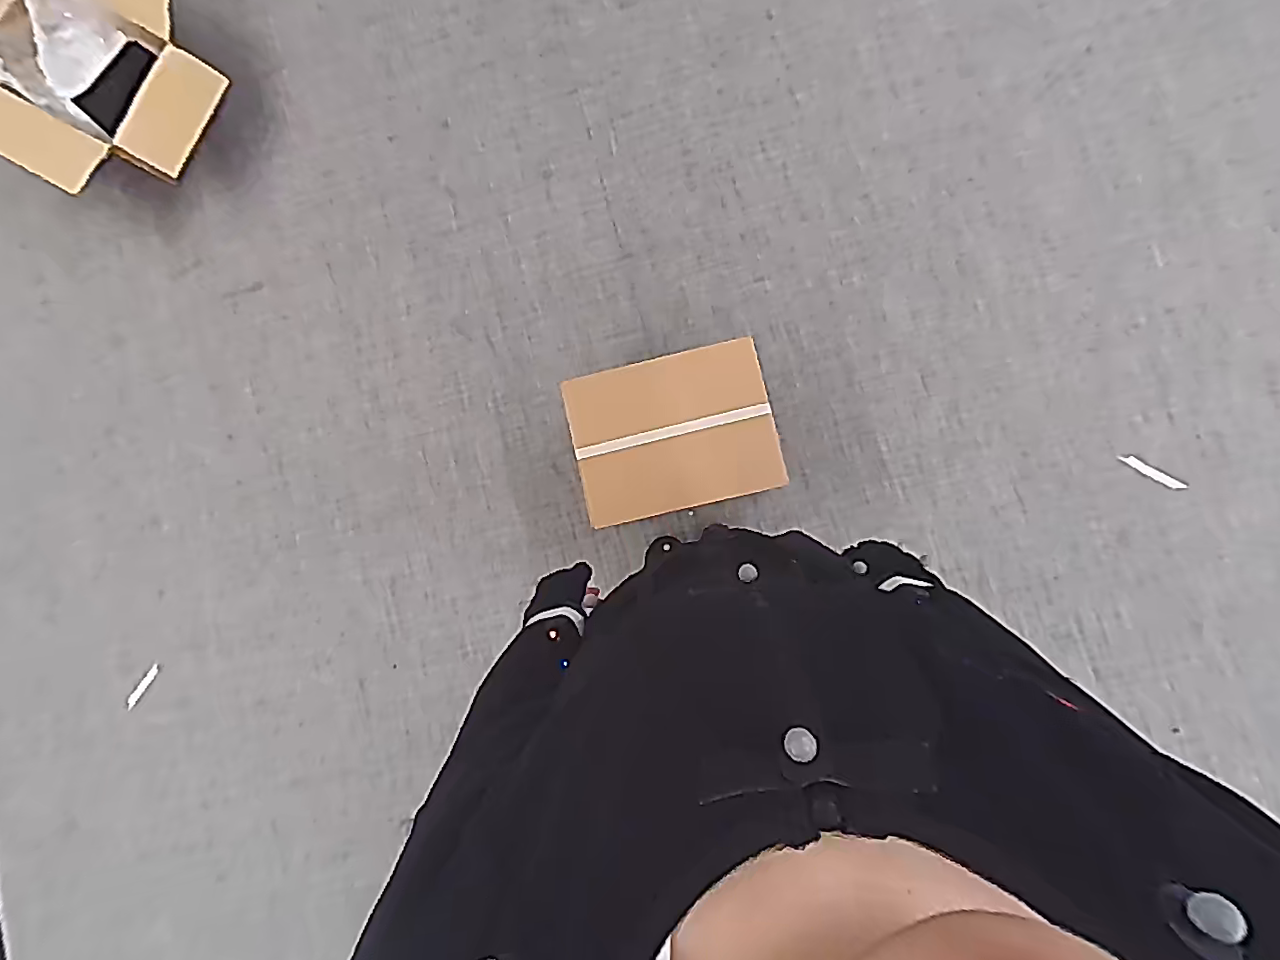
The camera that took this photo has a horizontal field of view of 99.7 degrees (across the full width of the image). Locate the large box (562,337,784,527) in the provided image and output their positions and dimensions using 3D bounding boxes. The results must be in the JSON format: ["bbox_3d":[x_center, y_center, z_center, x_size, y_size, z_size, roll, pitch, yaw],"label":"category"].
[{"bbox_3d":[0.071,-0.089,1.249,0.408,0.320,0.320,-13,87,3],"label":"large box"}]
